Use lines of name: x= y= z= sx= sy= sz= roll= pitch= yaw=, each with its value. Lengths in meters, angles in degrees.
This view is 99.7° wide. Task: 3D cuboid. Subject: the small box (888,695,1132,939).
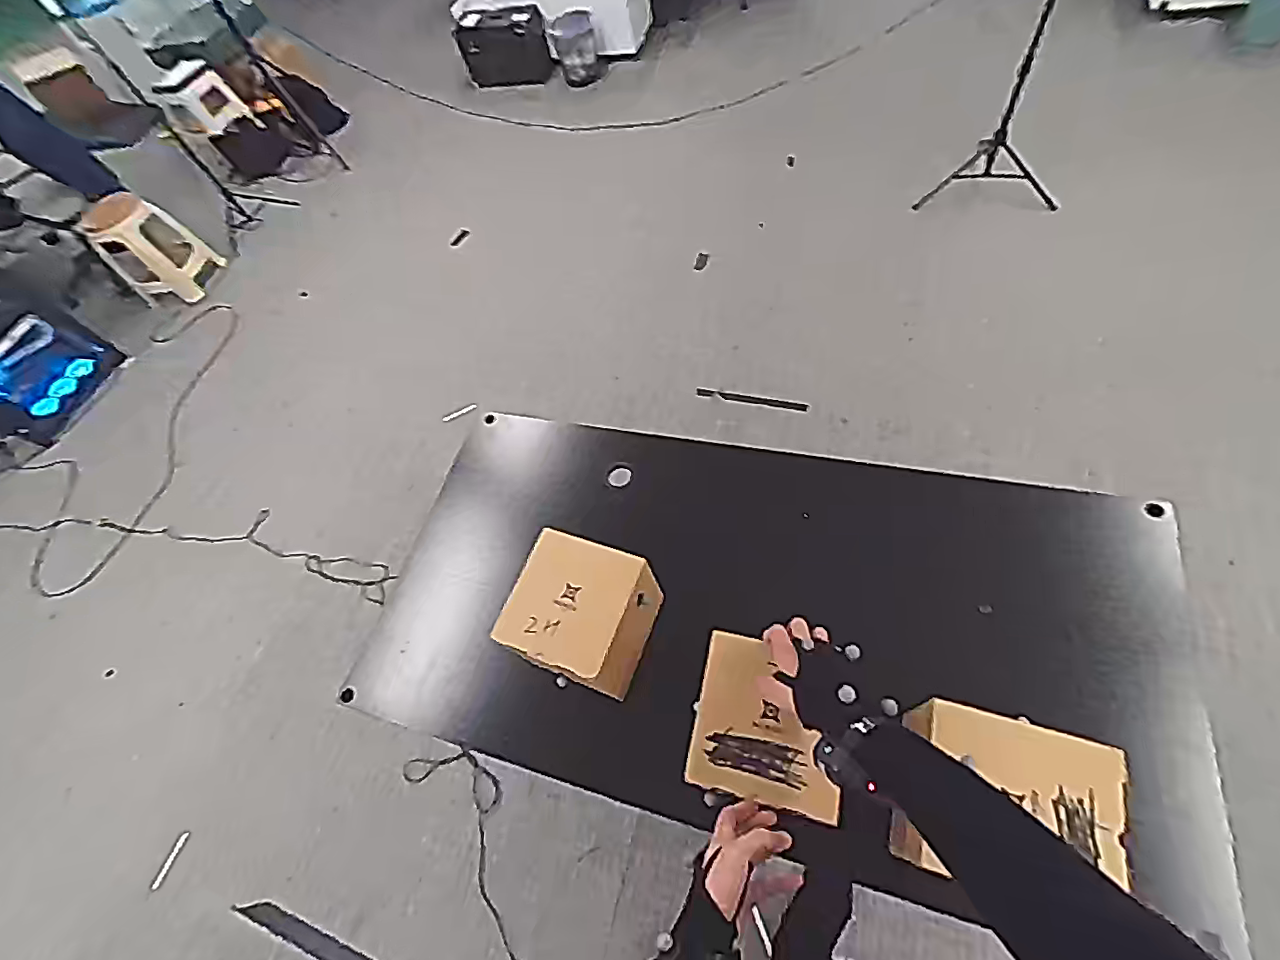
small box: x=0.394 y=0.359 z=0.603 sx=0.179 sy=0.176 sz=0.168 roll=11 pitch=63 yaw=19

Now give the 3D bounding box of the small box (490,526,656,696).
small box: x=-0.085 y=0.198 z=0.804 sx=0.168 sy=0.176 sz=0.179 roll=14 pitch=65 yaw=20
